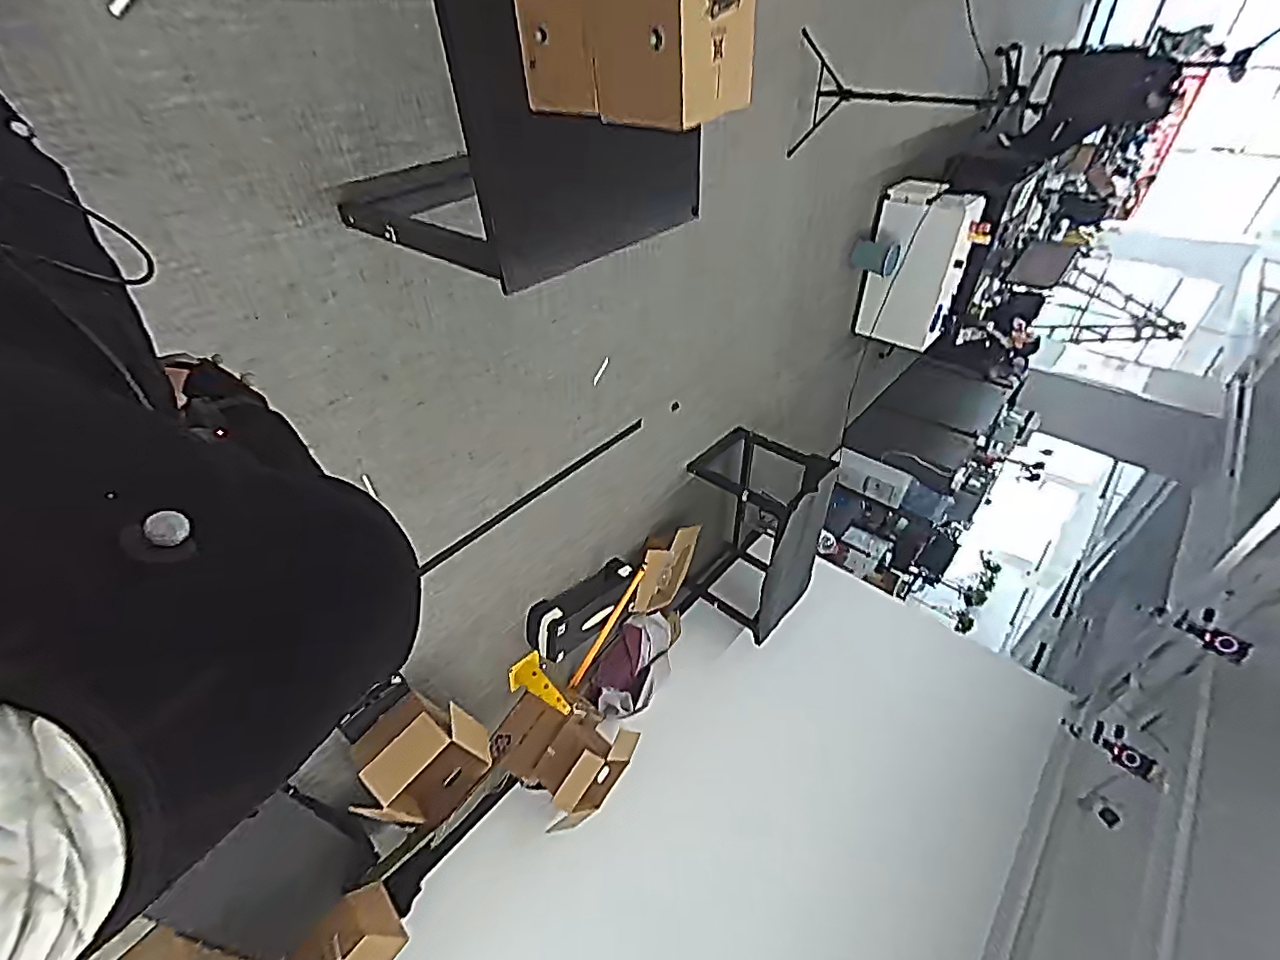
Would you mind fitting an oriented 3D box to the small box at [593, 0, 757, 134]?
[{"bbox_3d":[0.049,-0.620,0.777,0.168,0.176,0.179,-40,143,-30],"label":"small box"}]

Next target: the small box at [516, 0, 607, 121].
[{"bbox_3d":[-0.069,-0.691,0.867,0.179,0.176,0.168,-37,141,-32],"label":"small box"}]
